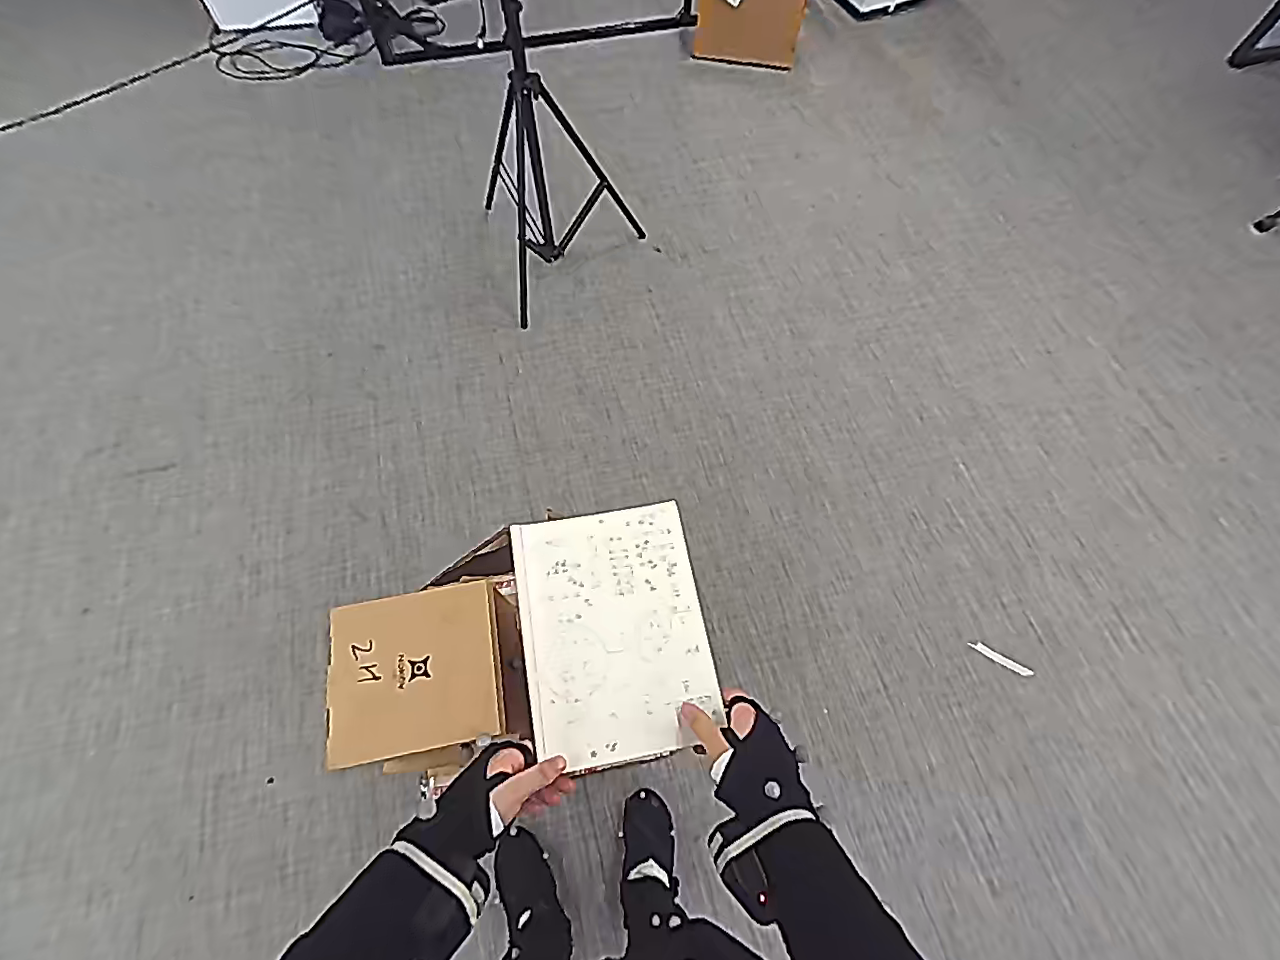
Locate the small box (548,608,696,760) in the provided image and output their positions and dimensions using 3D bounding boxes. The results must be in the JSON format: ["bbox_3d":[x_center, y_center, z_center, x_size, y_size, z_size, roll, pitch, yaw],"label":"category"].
[{"bbox_3d":[-0.032,0.306,0.817,0.179,0.176,0.168,-13,67,-8],"label":"small box"}]

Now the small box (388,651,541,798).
[{"bbox_3d":[-0.243,0.350,0.791,0.179,0.176,0.168,-7,67,-2],"label":"small box"}]
